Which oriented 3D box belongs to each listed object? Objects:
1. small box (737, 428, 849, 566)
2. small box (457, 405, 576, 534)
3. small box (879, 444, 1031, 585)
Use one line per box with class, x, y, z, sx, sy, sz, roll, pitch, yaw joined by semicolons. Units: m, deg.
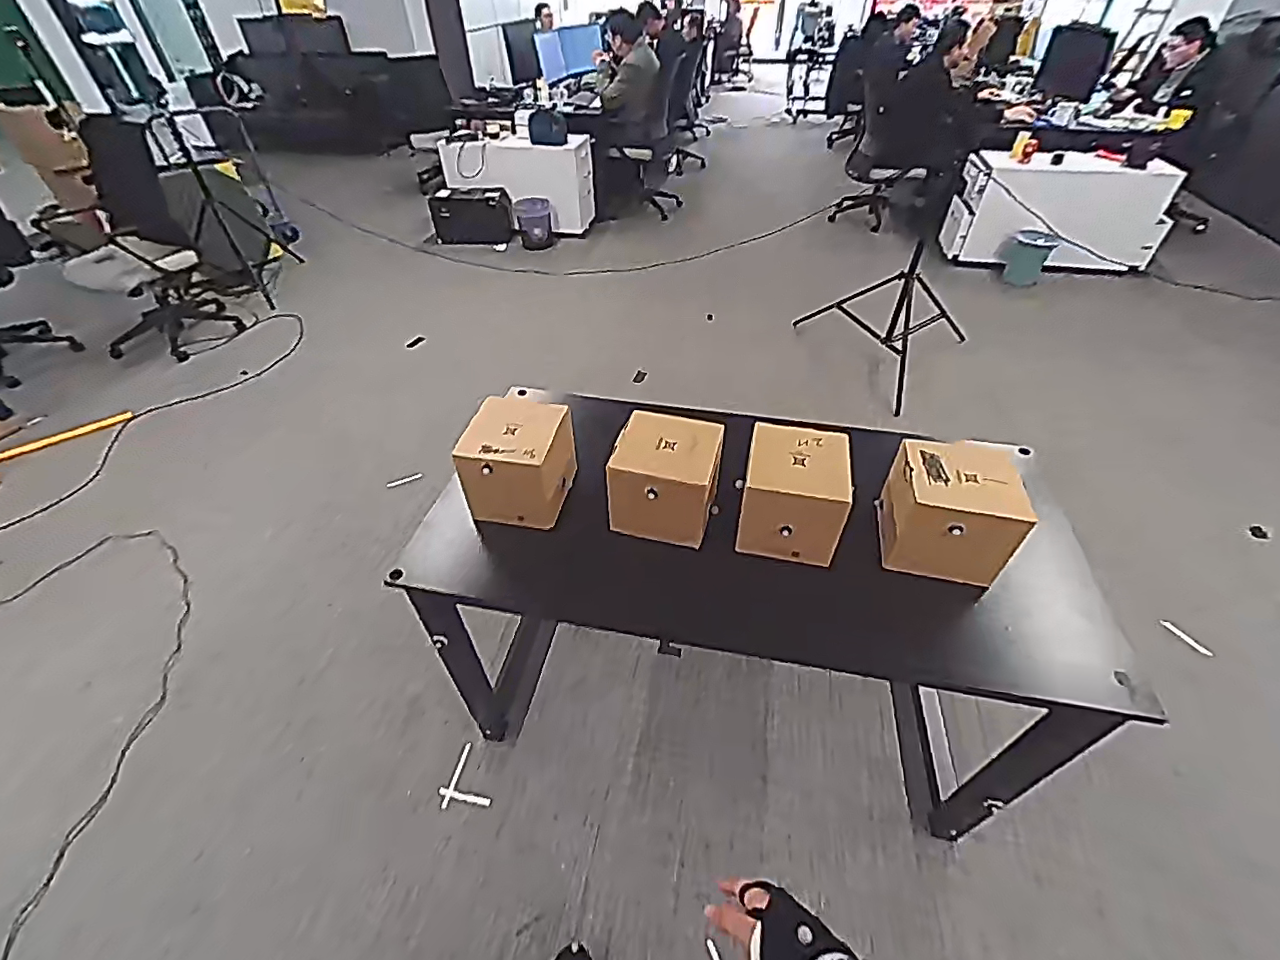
small box;0.272;0.033;0.978;0.168;0.176;0.179;9;44;10
small box;-0.226;-0.022;1.046;0.168;0.176;0.179;6;43;9
small box;0.529;0.061;0.942;0.179;0.176;0.168;9;44;10
